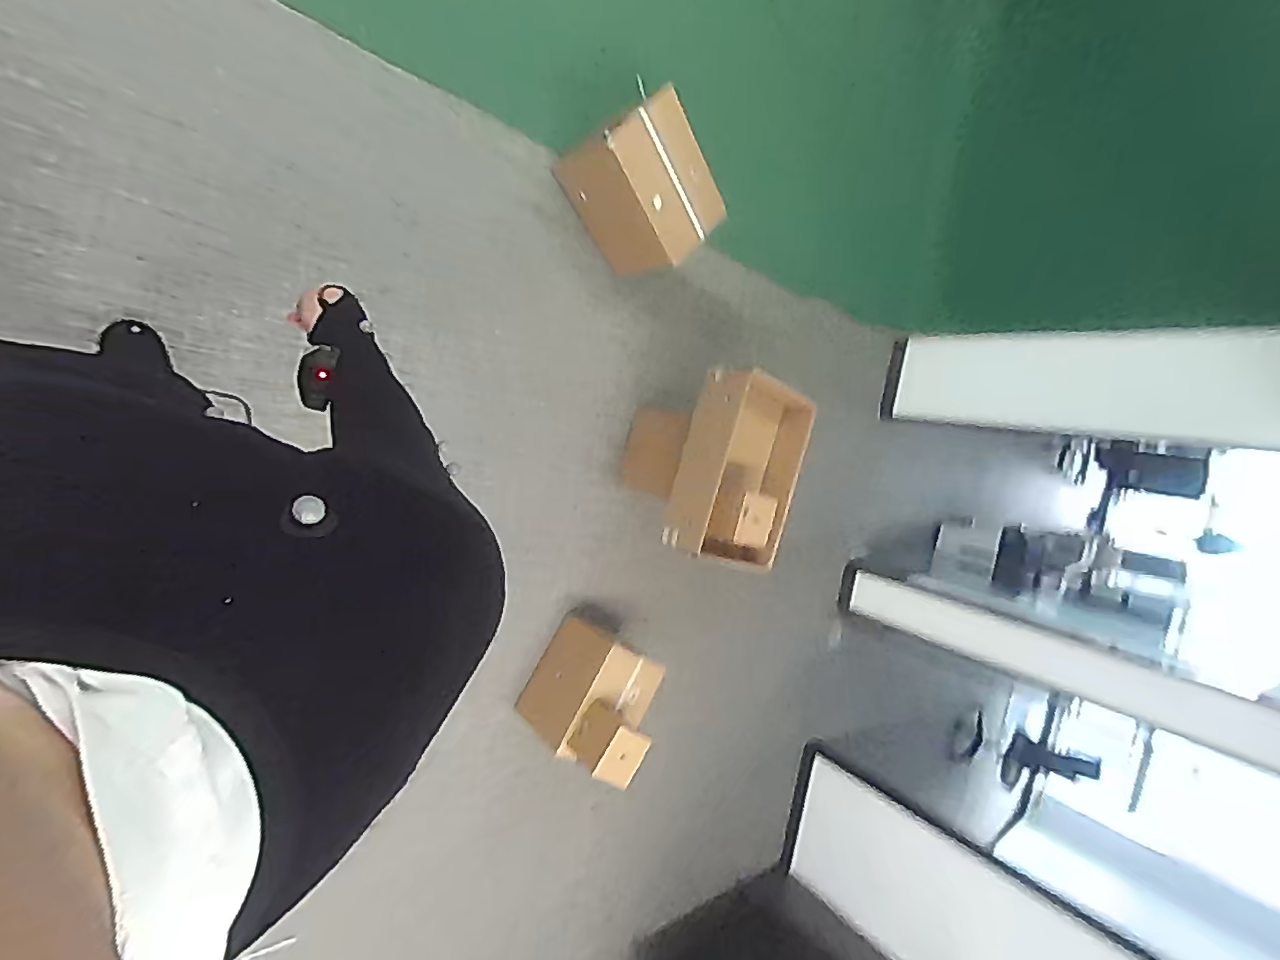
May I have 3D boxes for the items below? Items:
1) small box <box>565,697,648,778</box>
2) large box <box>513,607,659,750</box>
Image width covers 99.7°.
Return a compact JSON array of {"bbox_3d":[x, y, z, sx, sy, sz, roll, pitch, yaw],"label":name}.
[{"bbox_3d":[-0.114,0.853,1.802,0.179,0.176,0.168,45,71,-36],"label":"small box"},{"bbox_3d":[-0.203,0.751,2.029,0.320,0.320,0.408,38,75,-40],"label":"large box"}]
